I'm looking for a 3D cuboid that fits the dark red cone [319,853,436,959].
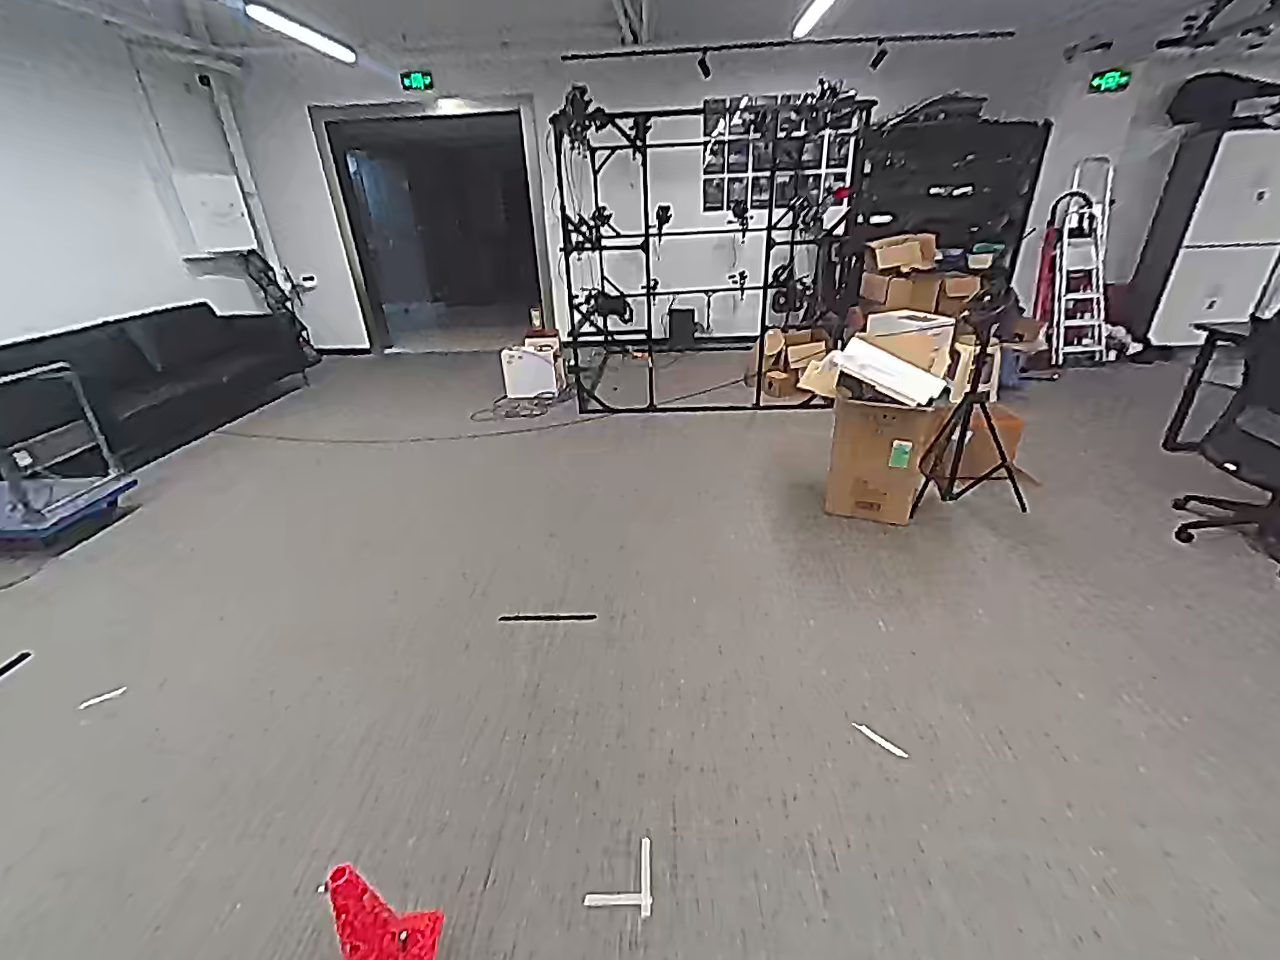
[{"bbox_3d":[-0.553,0.860,1.062,0.202,0.394,0.201,-4,28,-3],"label":"dark red cone"}]
